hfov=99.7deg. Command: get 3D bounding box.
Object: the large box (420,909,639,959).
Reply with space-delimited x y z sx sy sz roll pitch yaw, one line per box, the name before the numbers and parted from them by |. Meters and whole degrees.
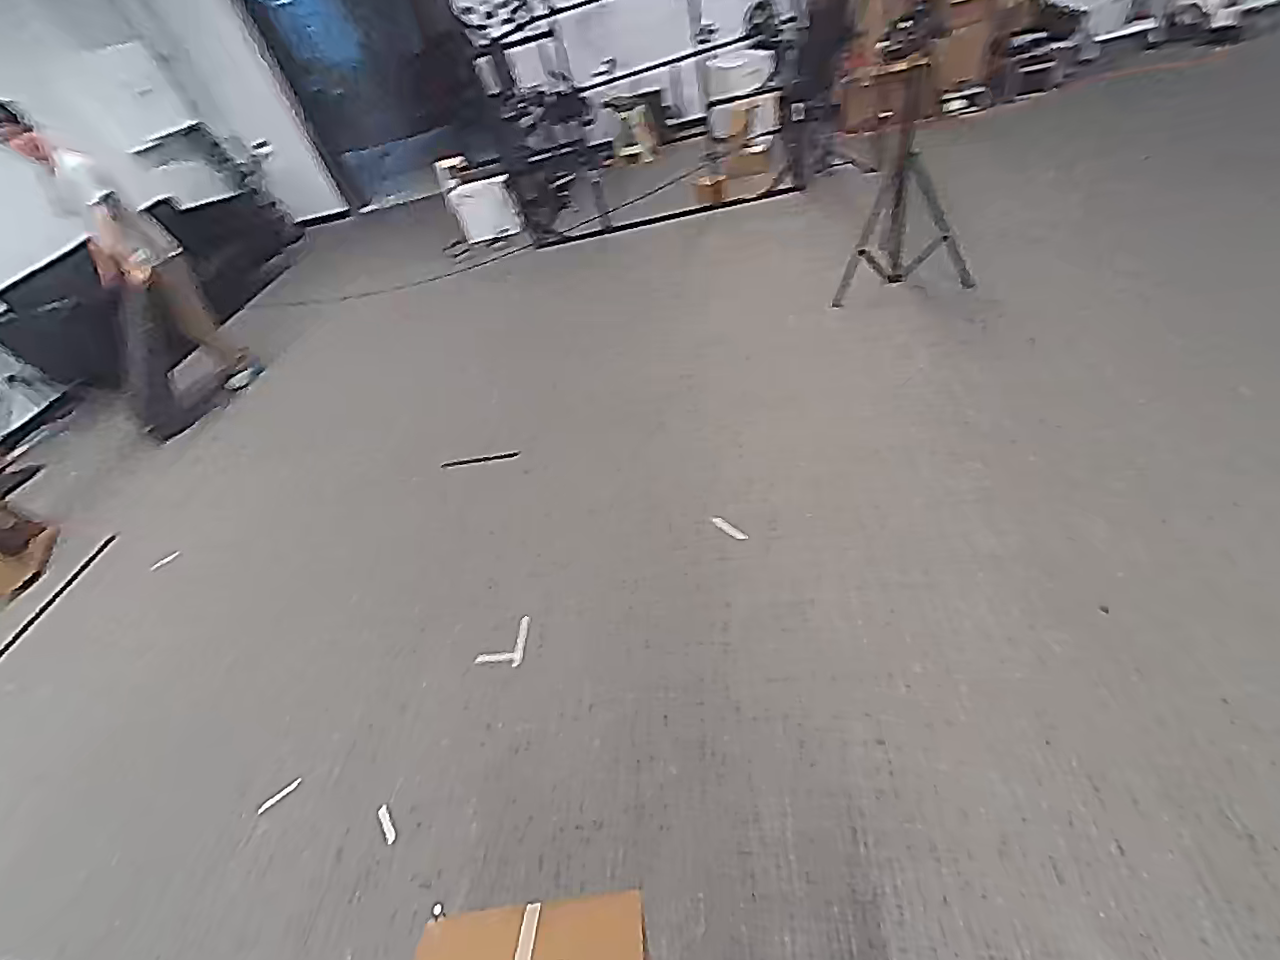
large box | -0.131 0.807 0.597 0.320 0.320 0.408 -8 3 -1
